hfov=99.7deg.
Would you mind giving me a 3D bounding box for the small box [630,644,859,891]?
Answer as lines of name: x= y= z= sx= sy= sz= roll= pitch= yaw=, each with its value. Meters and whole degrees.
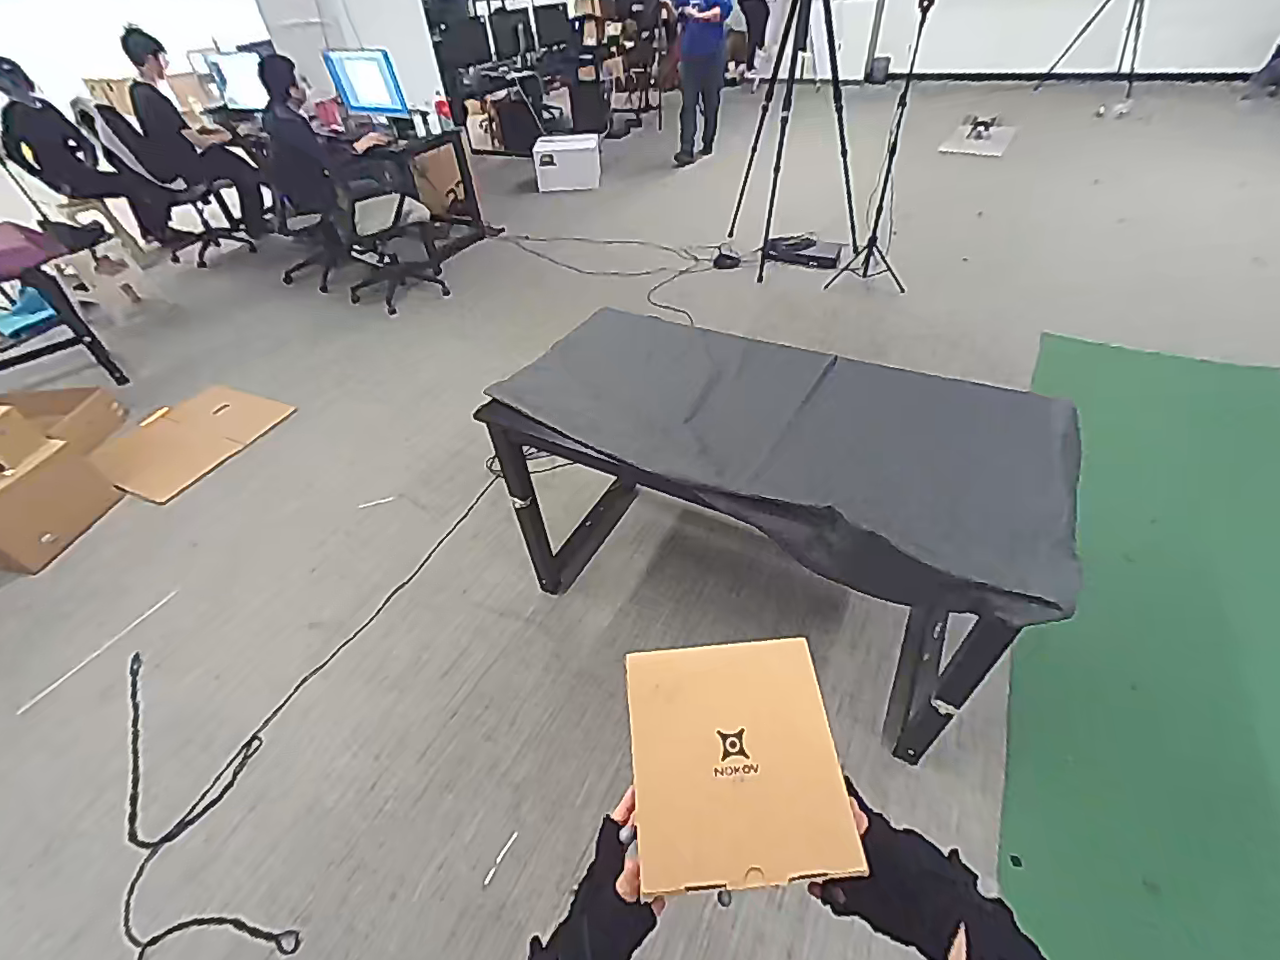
small box: x=0.075 y=0.272 z=0.508 sx=0.168 sy=0.176 sz=0.179 roll=-4 pitch=54 yaw=-2
